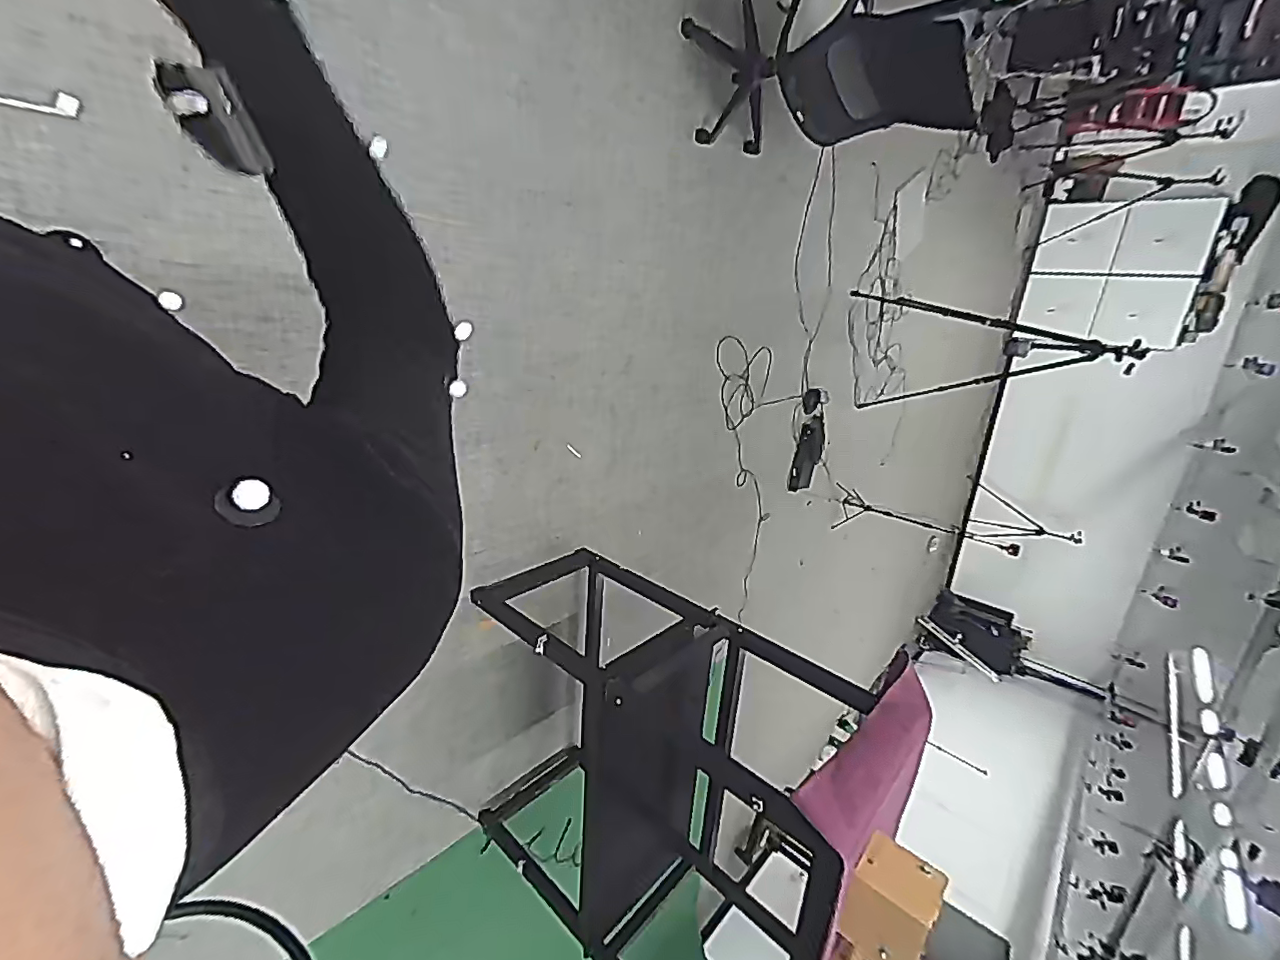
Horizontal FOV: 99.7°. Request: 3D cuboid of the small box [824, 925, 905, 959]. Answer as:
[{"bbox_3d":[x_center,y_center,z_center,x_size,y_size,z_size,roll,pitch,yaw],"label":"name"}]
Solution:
[{"bbox_3d":[0.542,1.257,1.329,0.168,0.176,0.179,-11,113,-47],"label":"small box"}]
